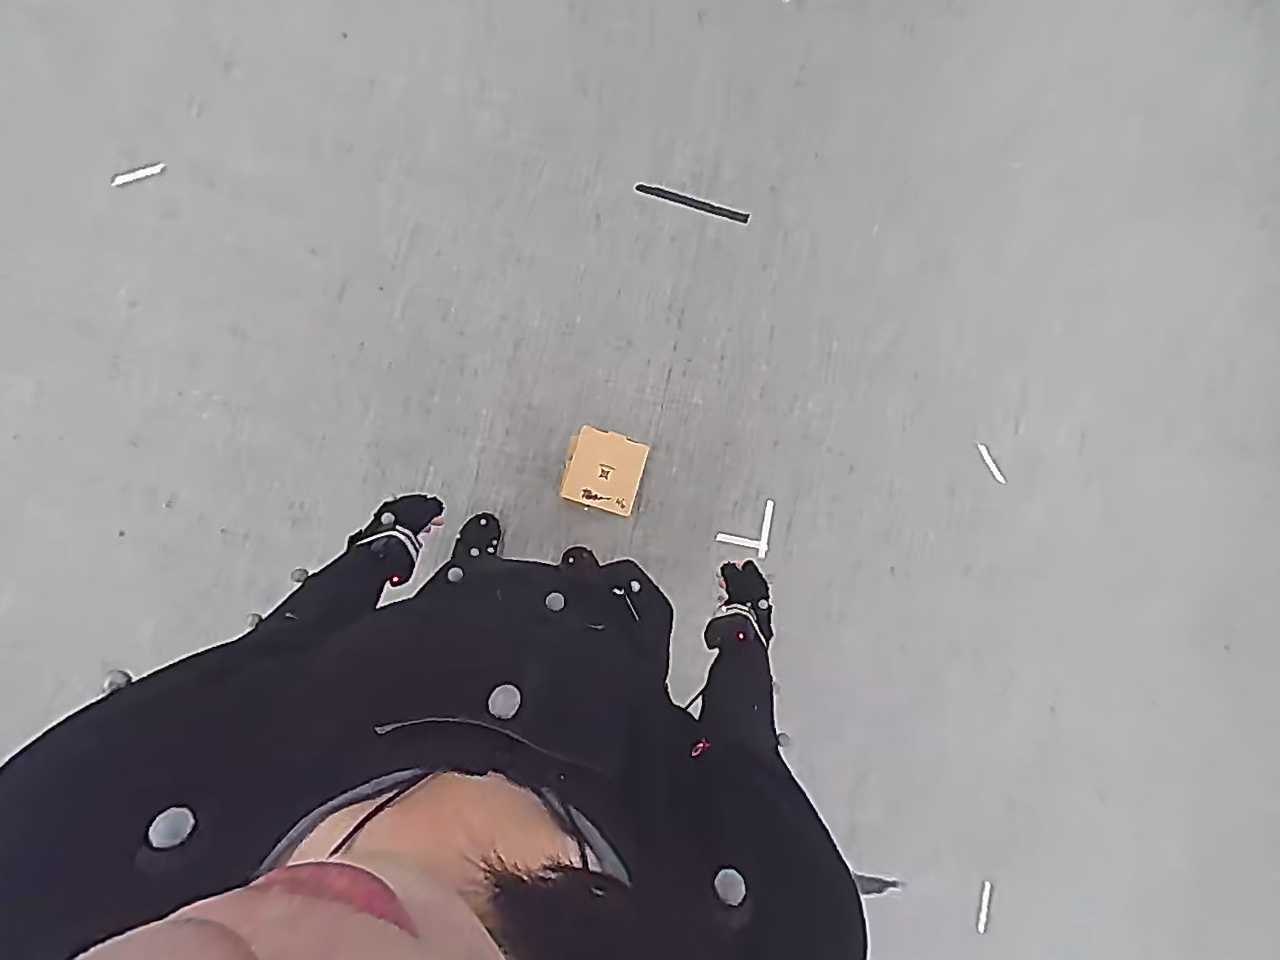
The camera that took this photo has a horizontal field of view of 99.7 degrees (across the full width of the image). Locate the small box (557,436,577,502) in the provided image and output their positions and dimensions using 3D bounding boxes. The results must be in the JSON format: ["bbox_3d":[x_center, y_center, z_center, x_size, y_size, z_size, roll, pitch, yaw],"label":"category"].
[{"bbox_3d":[-0.126,-0.011,1.475,0.179,0.176,0.168,11,82,-7],"label":"small box"}]

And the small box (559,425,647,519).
[{"bbox_3d":[-0.096,-0.013,1.314,0.168,0.176,0.179,18,81,-7],"label":"small box"}]
